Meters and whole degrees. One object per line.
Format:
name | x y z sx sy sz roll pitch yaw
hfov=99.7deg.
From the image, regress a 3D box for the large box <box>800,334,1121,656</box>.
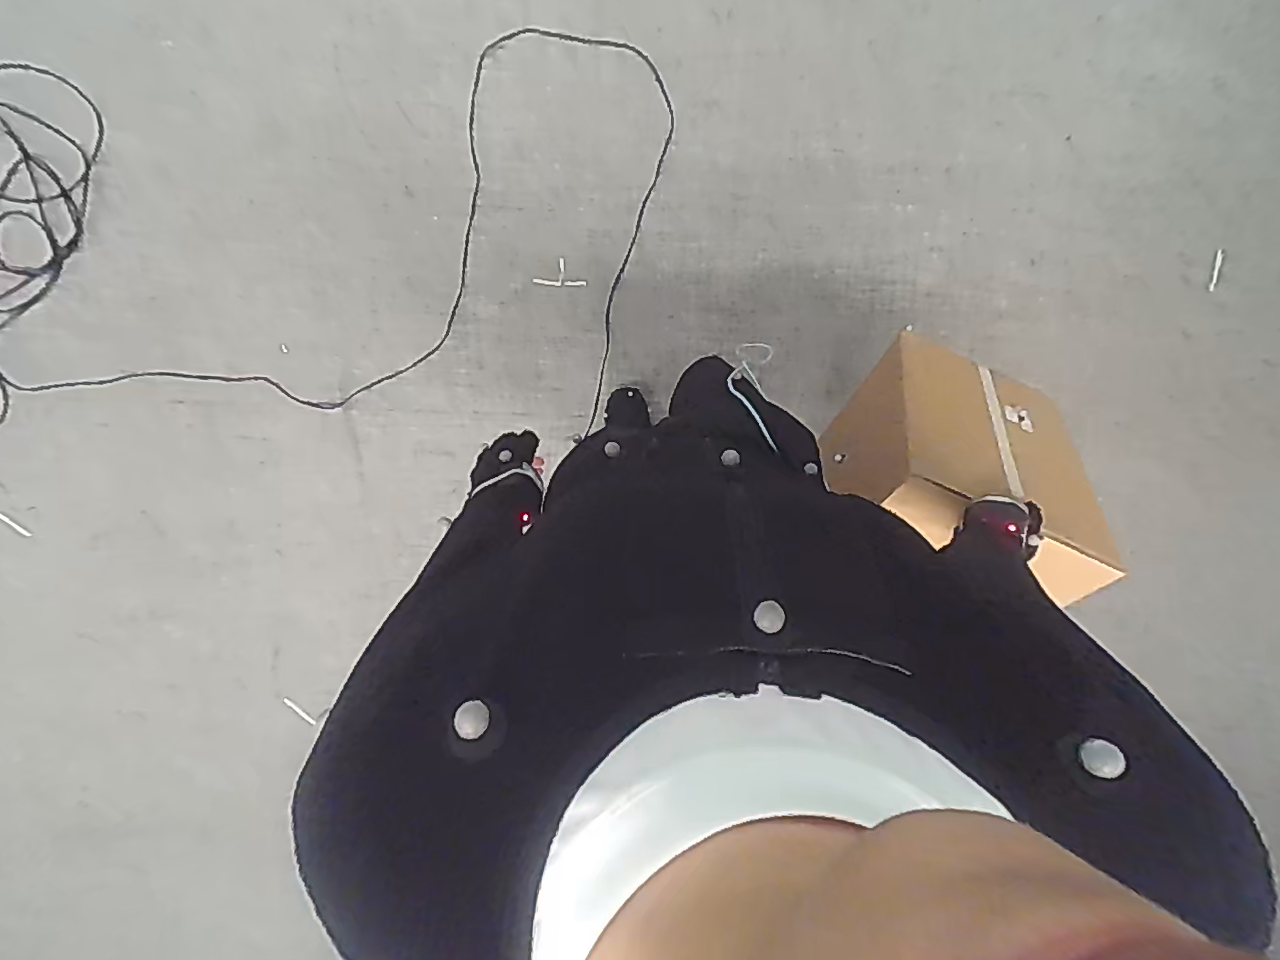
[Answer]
large box | 0.503 0.021 0.945 0.320 0.408 0.320 25 135 -1
